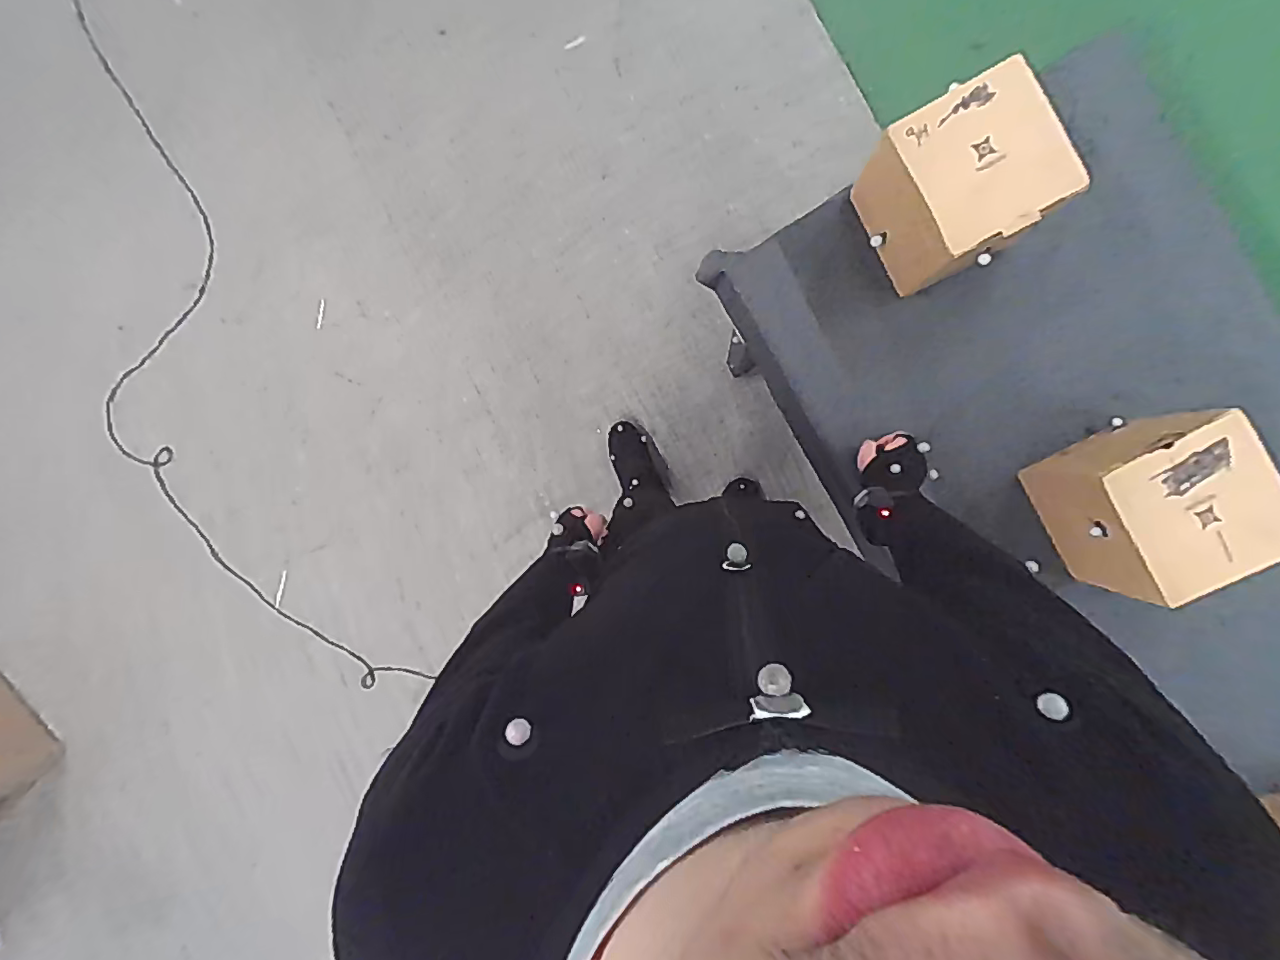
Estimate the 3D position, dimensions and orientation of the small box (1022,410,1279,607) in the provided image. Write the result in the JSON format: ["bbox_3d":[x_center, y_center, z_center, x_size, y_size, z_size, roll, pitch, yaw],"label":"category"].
[{"bbox_3d":[0.638,0.030,0.685,0.168,0.176,0.179,-28,90,8],"label":"small box"}]

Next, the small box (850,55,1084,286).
[{"bbox_3d":[0.401,-0.372,0.697,0.168,0.176,0.179,-27,90,7],"label":"small box"}]
